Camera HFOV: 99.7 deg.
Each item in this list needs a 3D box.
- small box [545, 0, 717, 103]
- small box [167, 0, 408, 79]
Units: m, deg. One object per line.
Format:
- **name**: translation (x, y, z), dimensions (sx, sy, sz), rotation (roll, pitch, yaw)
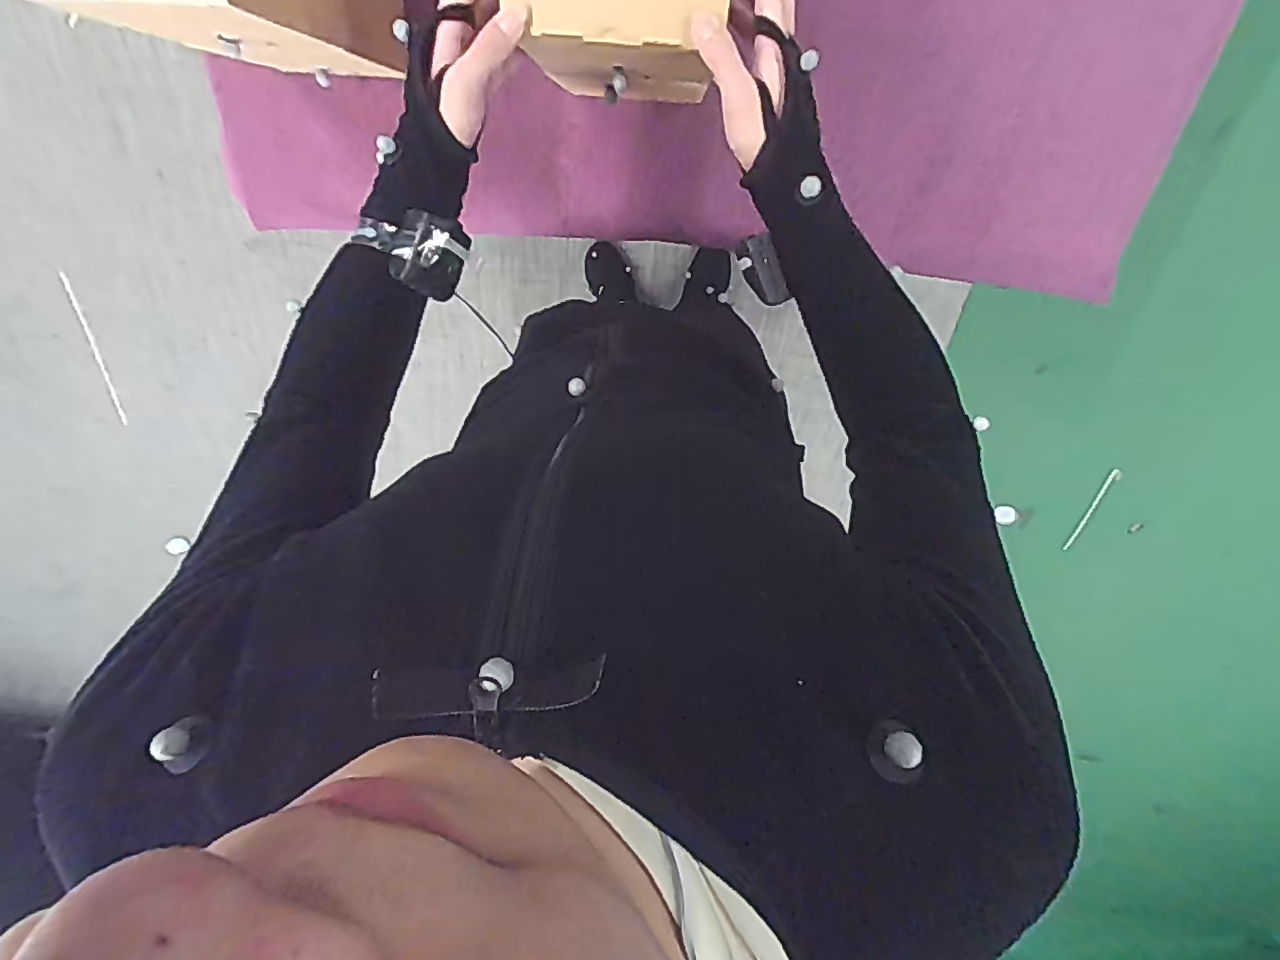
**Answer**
- **small box**: translation (-0.002, -0.511, 0.565), dimensions (0.168, 0.176, 0.179), rotation (4, 119, 0)
- **small box**: translation (-0.362, -0.539, 0.557), dimensions (0.168, 0.176, 0.179), rotation (3, 120, 0)
